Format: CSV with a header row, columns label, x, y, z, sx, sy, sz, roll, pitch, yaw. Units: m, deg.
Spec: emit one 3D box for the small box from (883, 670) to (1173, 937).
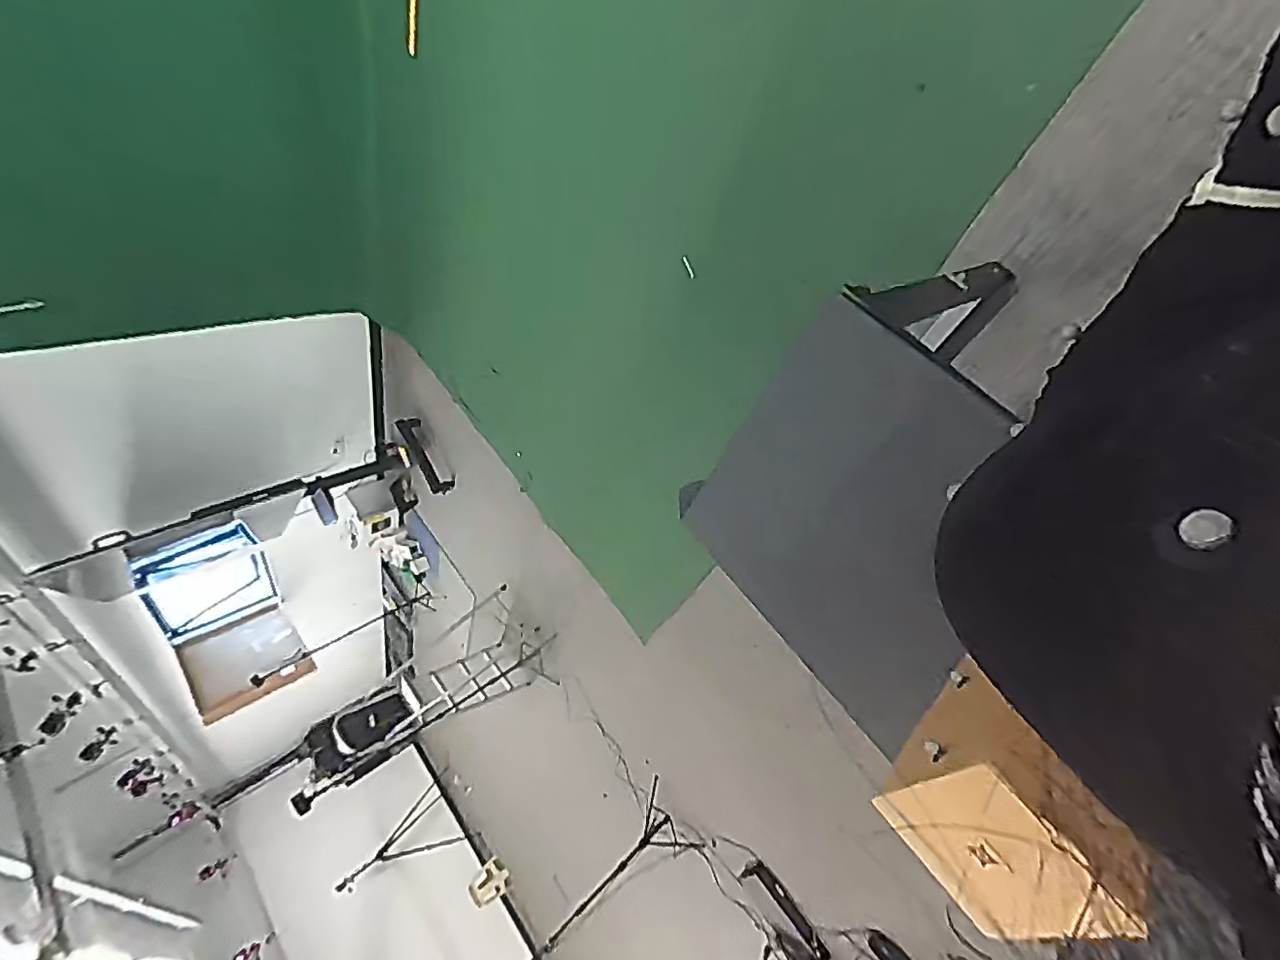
label,x,y,z,sx,sy,sz,roll,pitch,yaw
small box,0.412,0.341,0.582,0.168,0.176,0.179,49,139,20
